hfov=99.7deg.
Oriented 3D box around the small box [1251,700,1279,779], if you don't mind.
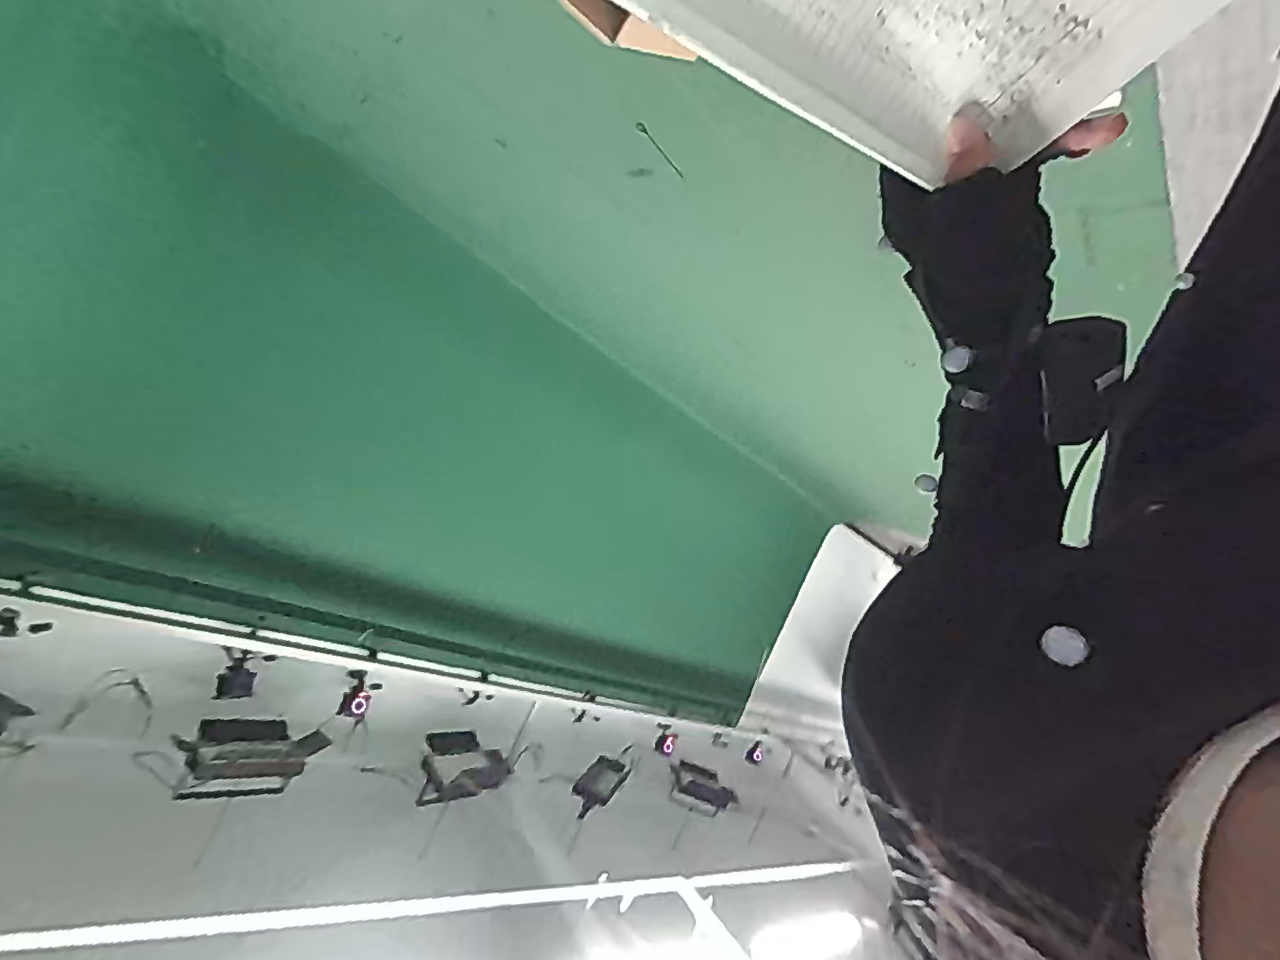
[{"bbox_3d":[1.489,0.593,1.172,0.168,0.176,0.179,23,173,44],"label":"small box"}]
